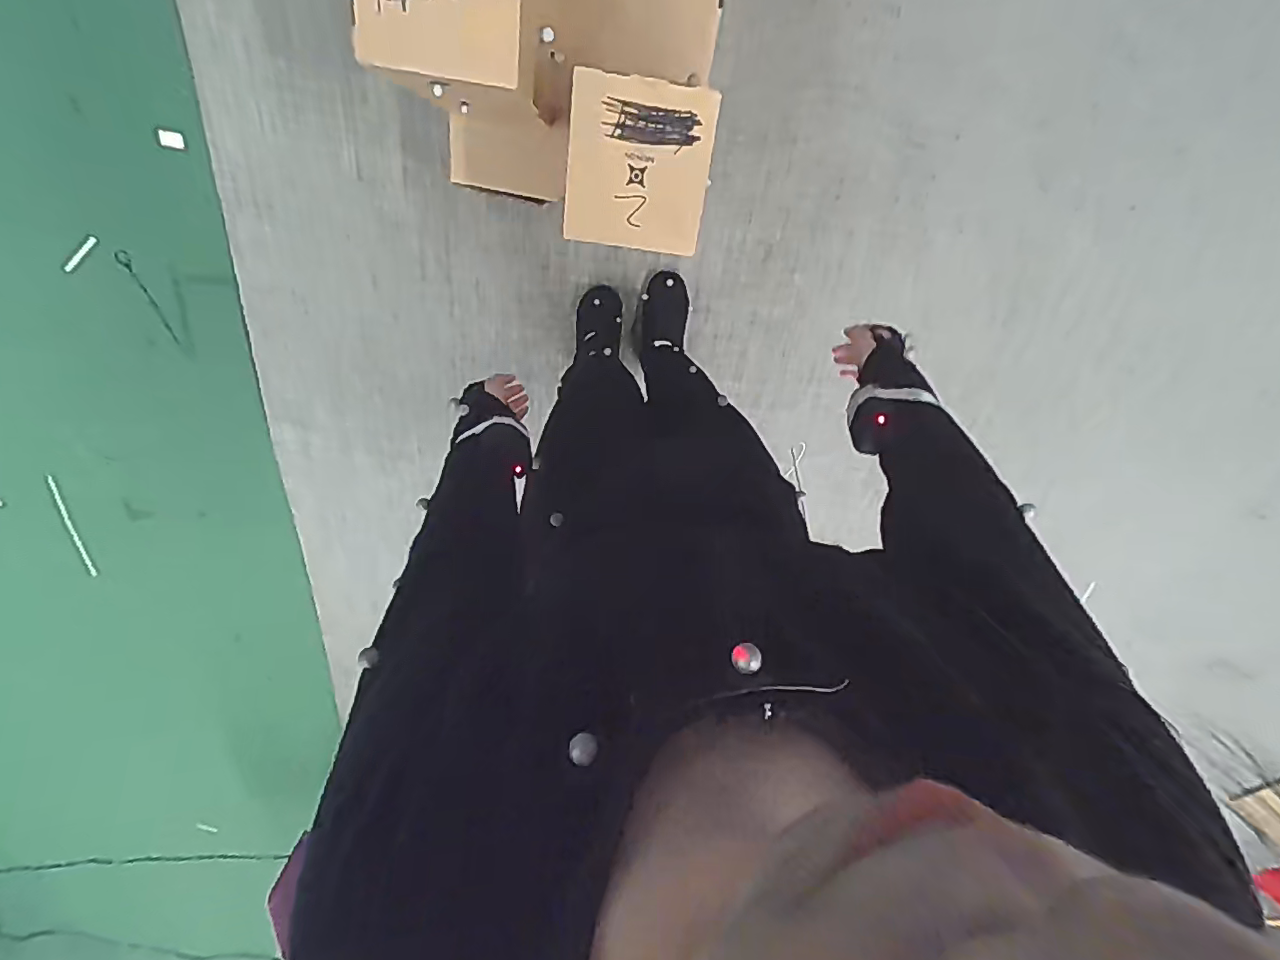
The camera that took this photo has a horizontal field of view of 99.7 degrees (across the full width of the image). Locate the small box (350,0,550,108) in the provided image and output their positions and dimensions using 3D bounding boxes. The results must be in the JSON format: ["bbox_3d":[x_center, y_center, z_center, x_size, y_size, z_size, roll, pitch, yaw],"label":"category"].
[{"bbox_3d":[-0.205,-0.541,0.613,0.179,0.176,0.168,7,117,-3],"label":"small box"}]

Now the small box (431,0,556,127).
[{"bbox_3d":[-0.213,-0.622,0.759,0.168,0.176,0.179,7,116,-4],"label":"small box"}]

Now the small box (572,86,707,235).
[{"bbox_3d":[-0.007,-0.484,0.835,0.179,0.176,0.168,6,117,-4],"label":"small box"}]
